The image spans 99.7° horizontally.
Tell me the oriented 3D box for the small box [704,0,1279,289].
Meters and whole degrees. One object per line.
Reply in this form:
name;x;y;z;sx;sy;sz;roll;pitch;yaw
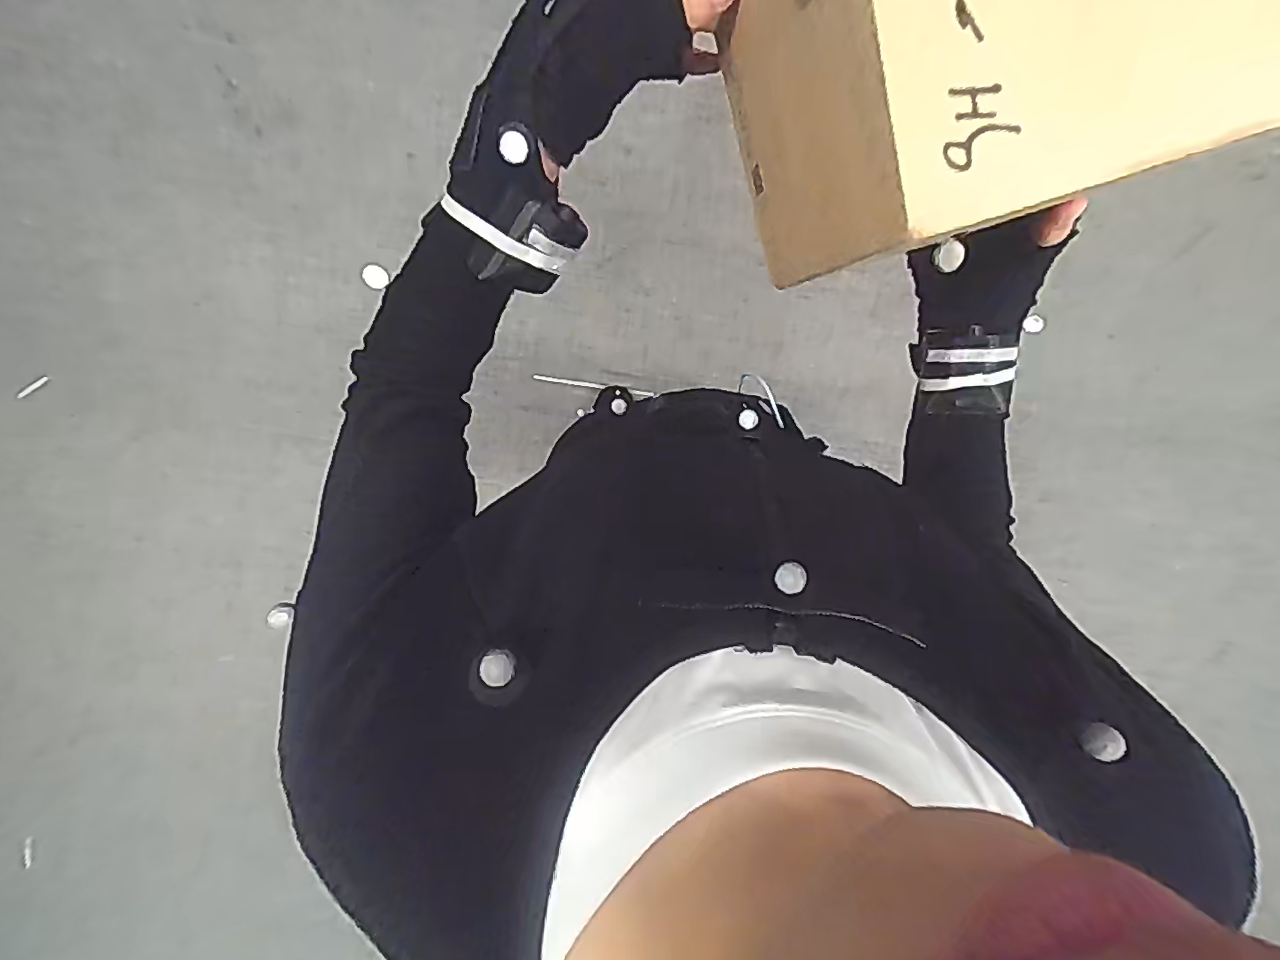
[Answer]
small box;0.142;-0.195;0.236;0.179;0.176;0.168;-17;104;1
